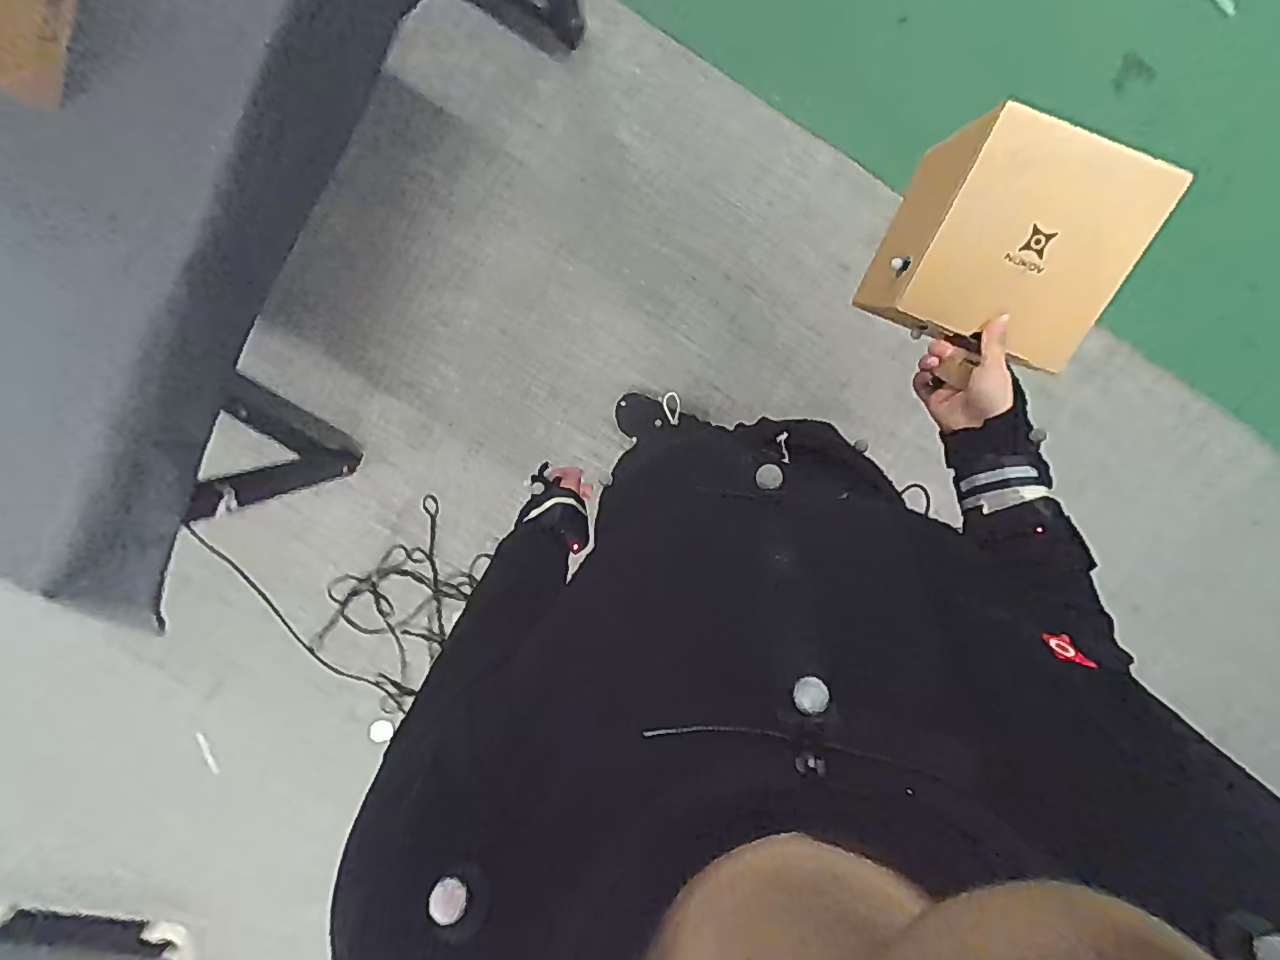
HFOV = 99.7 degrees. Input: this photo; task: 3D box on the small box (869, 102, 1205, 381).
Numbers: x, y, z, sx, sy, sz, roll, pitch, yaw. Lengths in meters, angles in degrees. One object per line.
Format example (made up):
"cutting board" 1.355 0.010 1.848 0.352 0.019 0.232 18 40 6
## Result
"small box" 0.354 -0.221 0.531 0.168 0.176 0.179 23 112 -1
